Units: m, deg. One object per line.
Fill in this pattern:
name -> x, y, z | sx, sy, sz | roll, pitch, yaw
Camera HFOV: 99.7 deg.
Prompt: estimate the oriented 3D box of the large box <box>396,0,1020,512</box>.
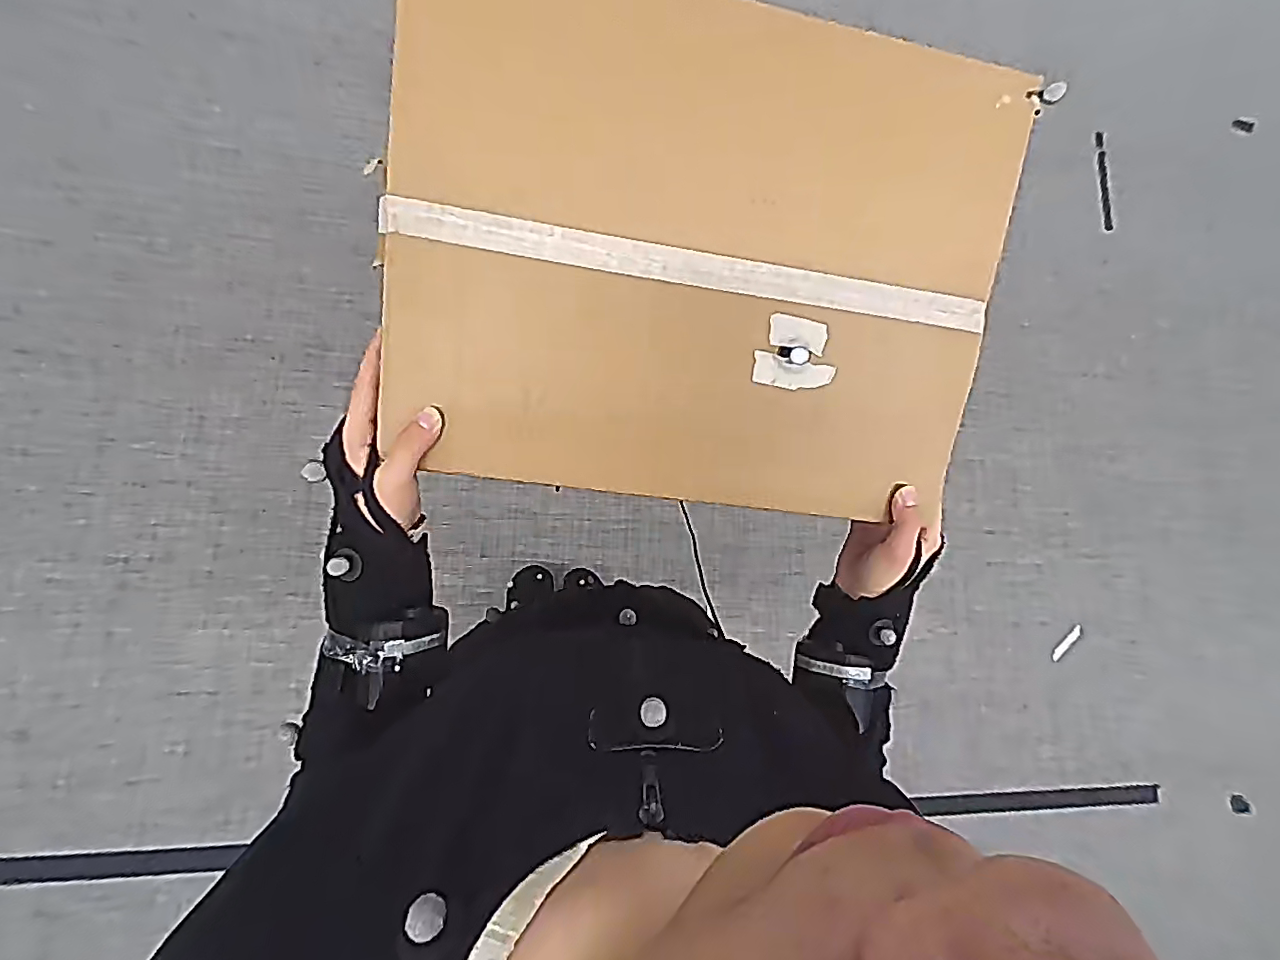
large box -> 0.026, -0.169, 0.507 | 0.408, 0.320, 0.320 | 6, 102, -9
